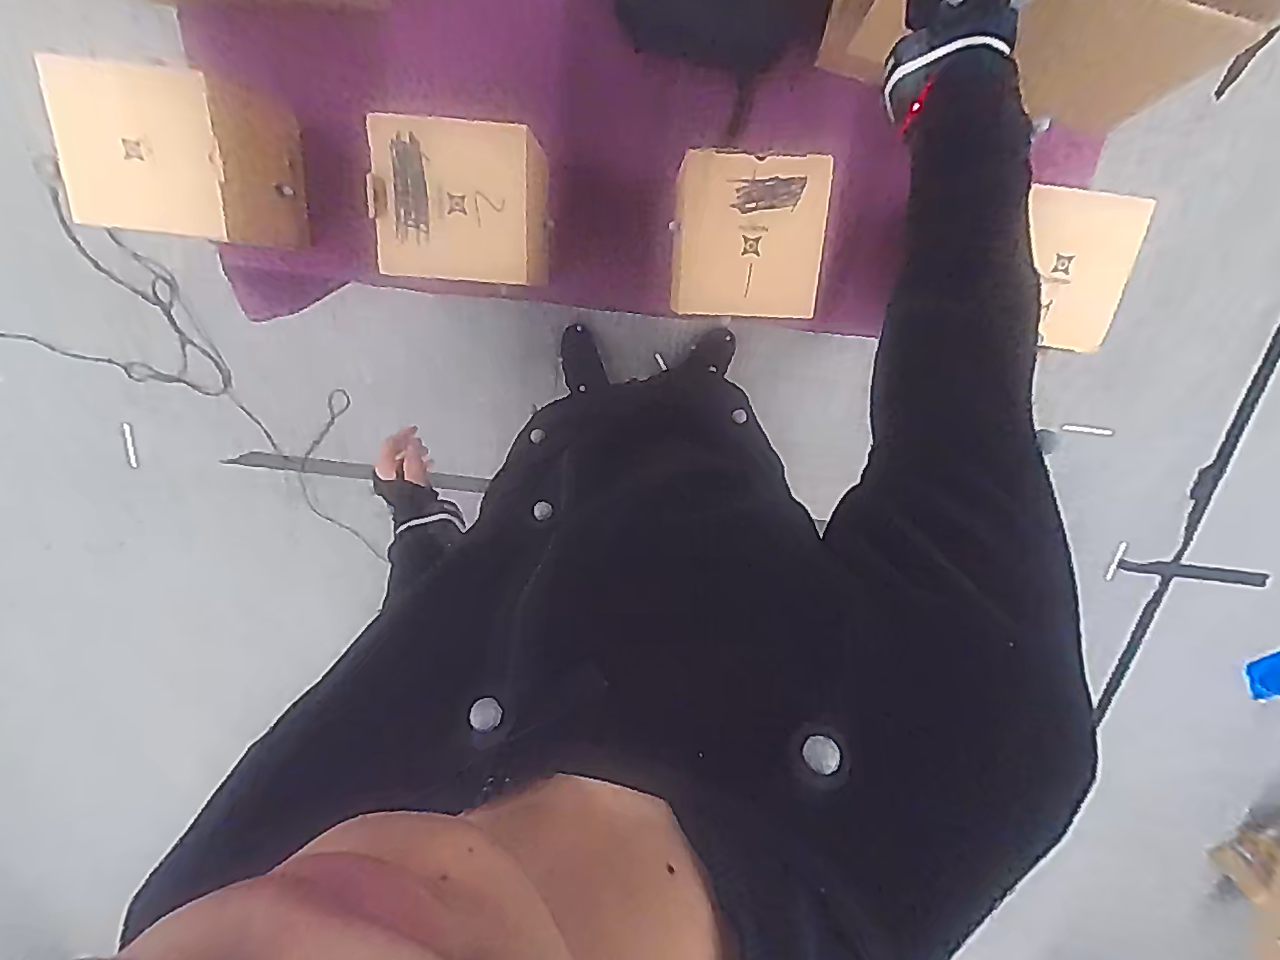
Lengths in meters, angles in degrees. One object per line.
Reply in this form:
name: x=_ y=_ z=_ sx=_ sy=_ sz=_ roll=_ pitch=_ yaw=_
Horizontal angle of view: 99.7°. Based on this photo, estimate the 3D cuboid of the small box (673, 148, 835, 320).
small box: x=0.131 y=-0.305 z=0.696 sx=0.168 sy=0.176 sz=0.179 roll=3 pitch=111 yaw=0

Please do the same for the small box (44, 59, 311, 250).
small box: x=-0.548 y=-0.384 z=0.670 sx=0.179 sy=0.176 sz=0.168 roll=4 pitch=109 yaw=-3
